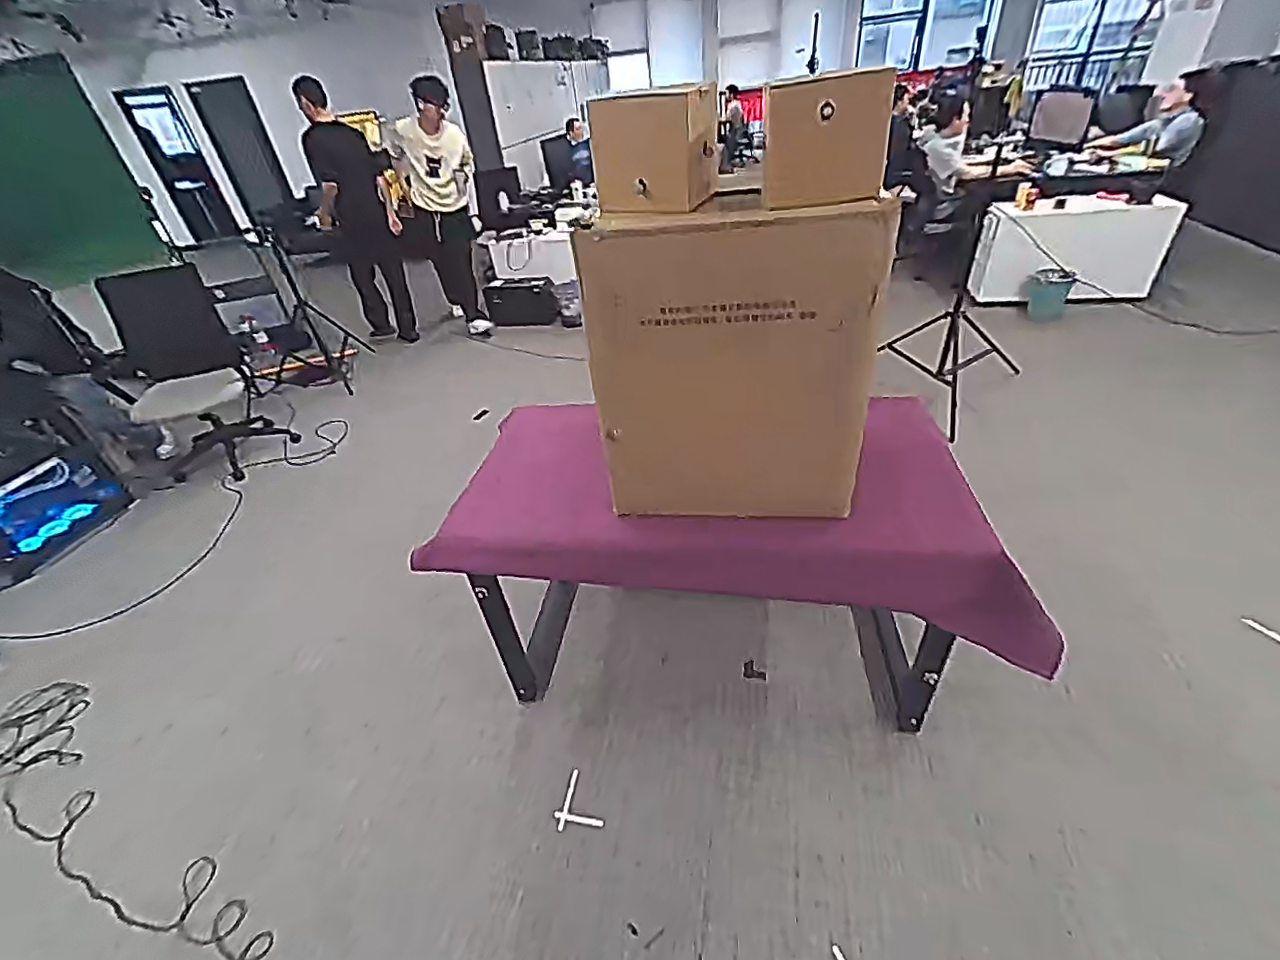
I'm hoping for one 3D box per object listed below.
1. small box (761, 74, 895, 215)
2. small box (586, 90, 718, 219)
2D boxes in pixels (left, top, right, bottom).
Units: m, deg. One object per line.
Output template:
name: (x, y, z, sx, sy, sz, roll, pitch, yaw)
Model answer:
small box: (0.288, -0.537, 0.869, 0.179, 0.176, 0.168, -1, 38, 10)
small box: (0.030, -0.564, 0.943, 0.179, 0.176, 0.168, 11, 41, 21)
